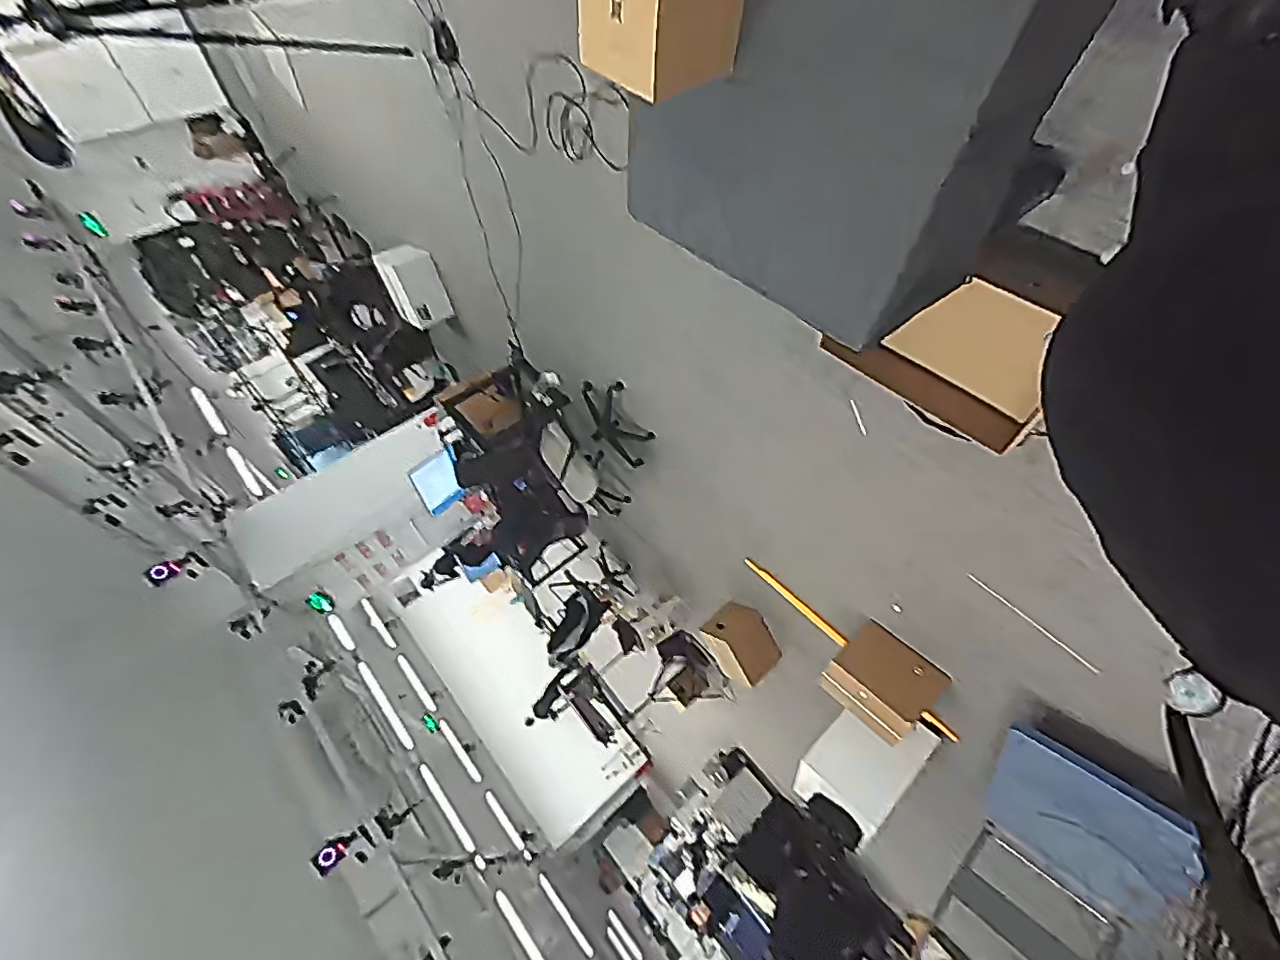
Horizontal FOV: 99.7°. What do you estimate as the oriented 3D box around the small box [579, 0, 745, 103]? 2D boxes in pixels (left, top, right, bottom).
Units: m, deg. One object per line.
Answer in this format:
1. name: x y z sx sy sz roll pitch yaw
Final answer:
1. small box: 0.033 -0.669 0.748 0.168 0.176 0.179 44 154 22
